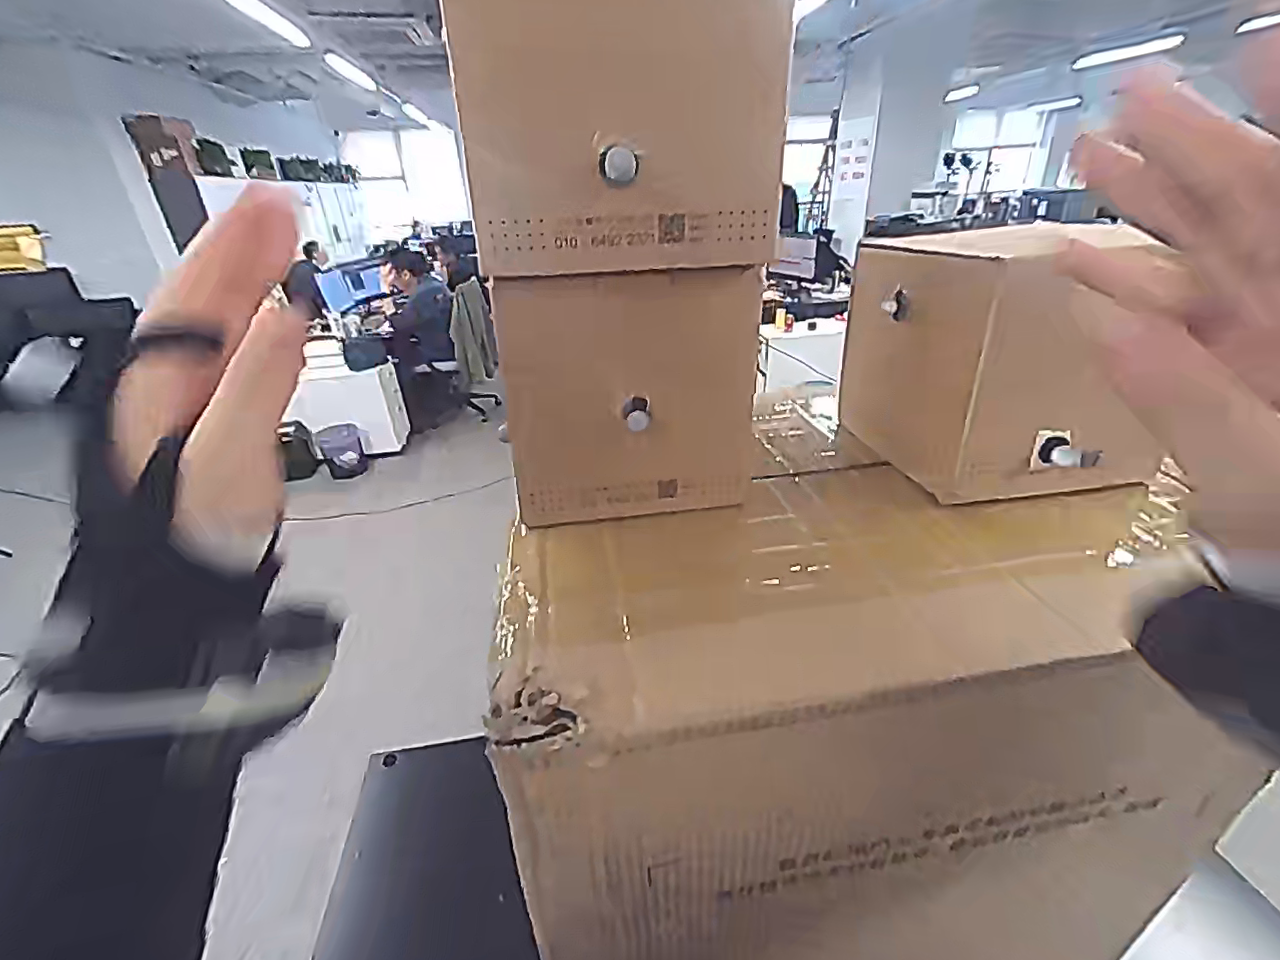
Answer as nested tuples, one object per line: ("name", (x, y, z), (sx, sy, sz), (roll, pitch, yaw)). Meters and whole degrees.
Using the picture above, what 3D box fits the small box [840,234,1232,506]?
("small box", (0.278, -0.097, 0.435), (0.168, 0.176, 0.179), (-8, 28, -5))

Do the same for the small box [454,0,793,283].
("small box", (-0.017, -0.224, 0.345), (0.168, 0.176, 0.179), (-5, 27, -7))

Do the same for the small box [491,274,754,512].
("small box", (-0.017, -0.083, 0.435), (0.168, 0.176, 0.179), (-6, 28, -8))
